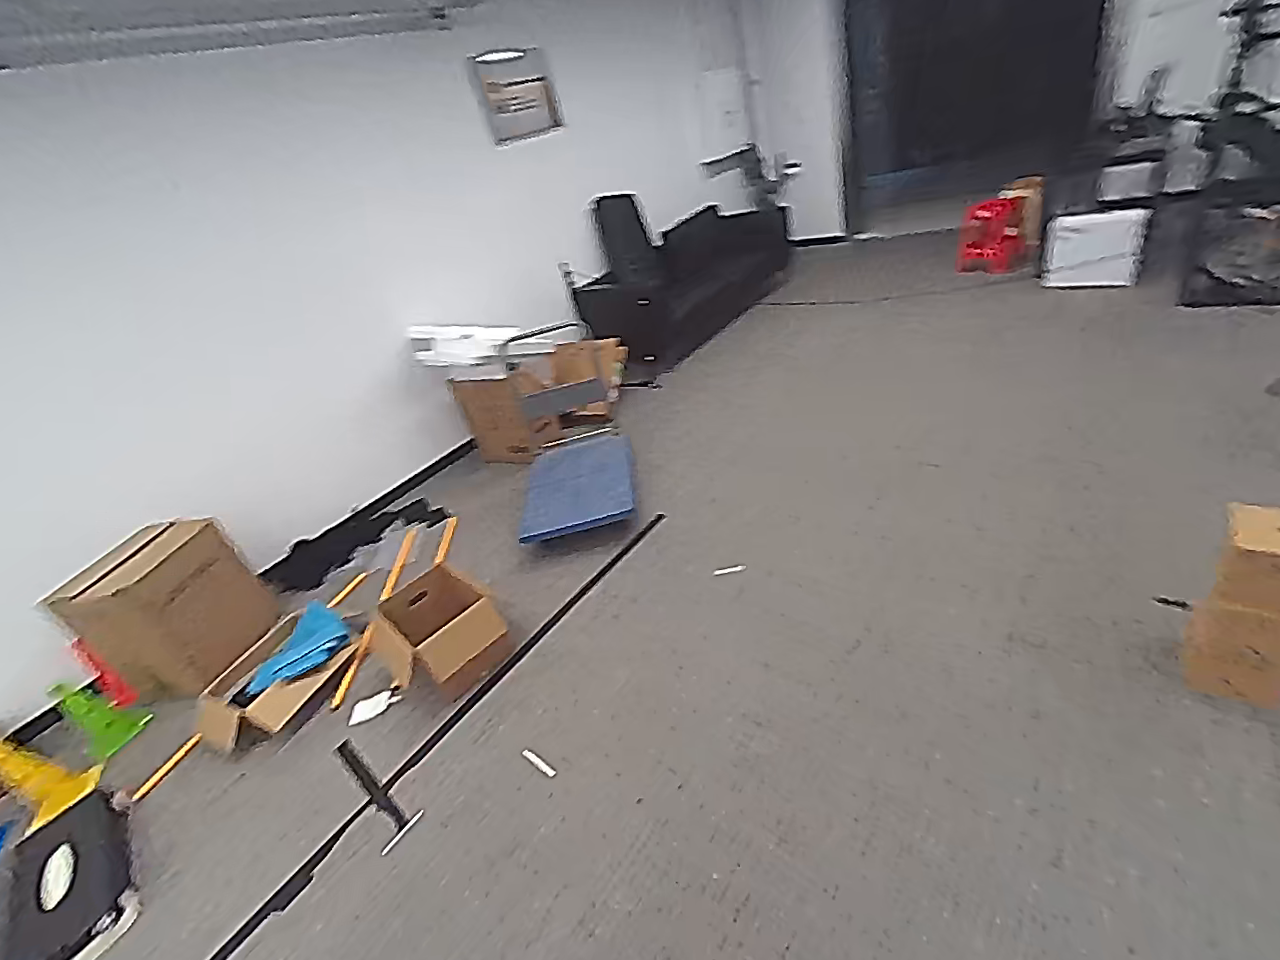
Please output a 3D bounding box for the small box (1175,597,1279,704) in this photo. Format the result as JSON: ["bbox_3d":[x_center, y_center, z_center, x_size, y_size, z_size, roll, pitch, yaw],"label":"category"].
[{"bbox_3d":[1.527,0.439,1.403,0.168,0.176,0.179,7,39,36],"label":"small box"}]

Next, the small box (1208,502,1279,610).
[{"bbox_3d":[1.433,0.176,1.227,0.179,0.176,0.168,12,43,39],"label":"small box"}]
